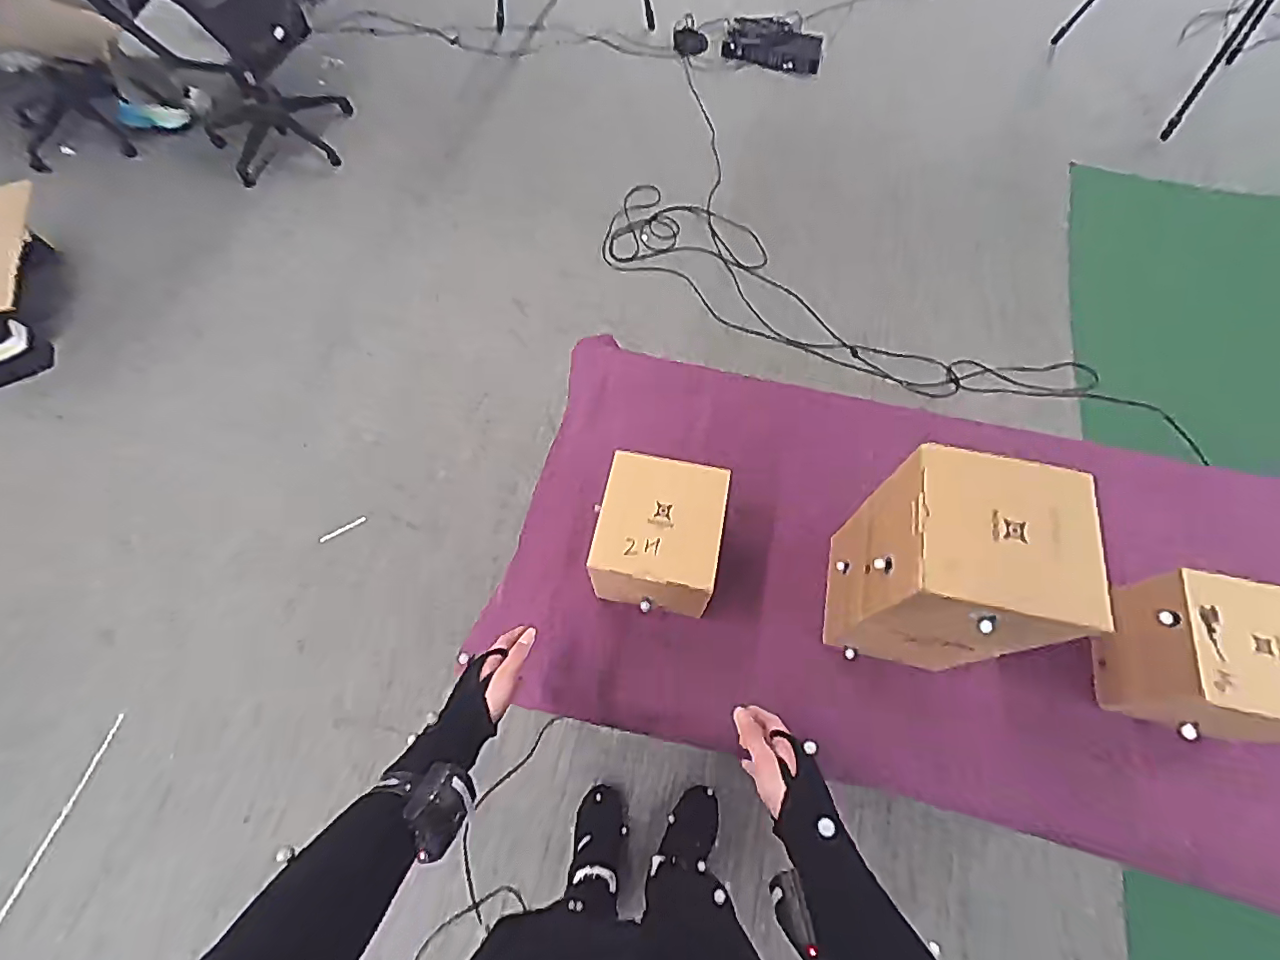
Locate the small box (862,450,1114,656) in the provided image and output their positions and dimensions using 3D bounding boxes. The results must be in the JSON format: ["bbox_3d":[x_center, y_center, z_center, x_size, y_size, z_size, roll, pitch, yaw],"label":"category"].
[{"bbox_3d":[0.367,0.090,0.607,0.179,0.176,0.168,13,66,5],"label":"small box"}]

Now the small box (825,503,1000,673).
[{"bbox_3d":[0.368,0.158,0.755,0.168,0.176,0.179,12,64,5],"label":"small box"}]

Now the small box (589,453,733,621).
[{"bbox_3d":[0.030,0.088,0.786,0.168,0.176,0.179,11,65,5],"label":"small box"}]

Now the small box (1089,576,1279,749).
[{"bbox_3d":[0.746,0.246,0.714,0.179,0.176,0.168,13,65,6],"label":"small box"}]
